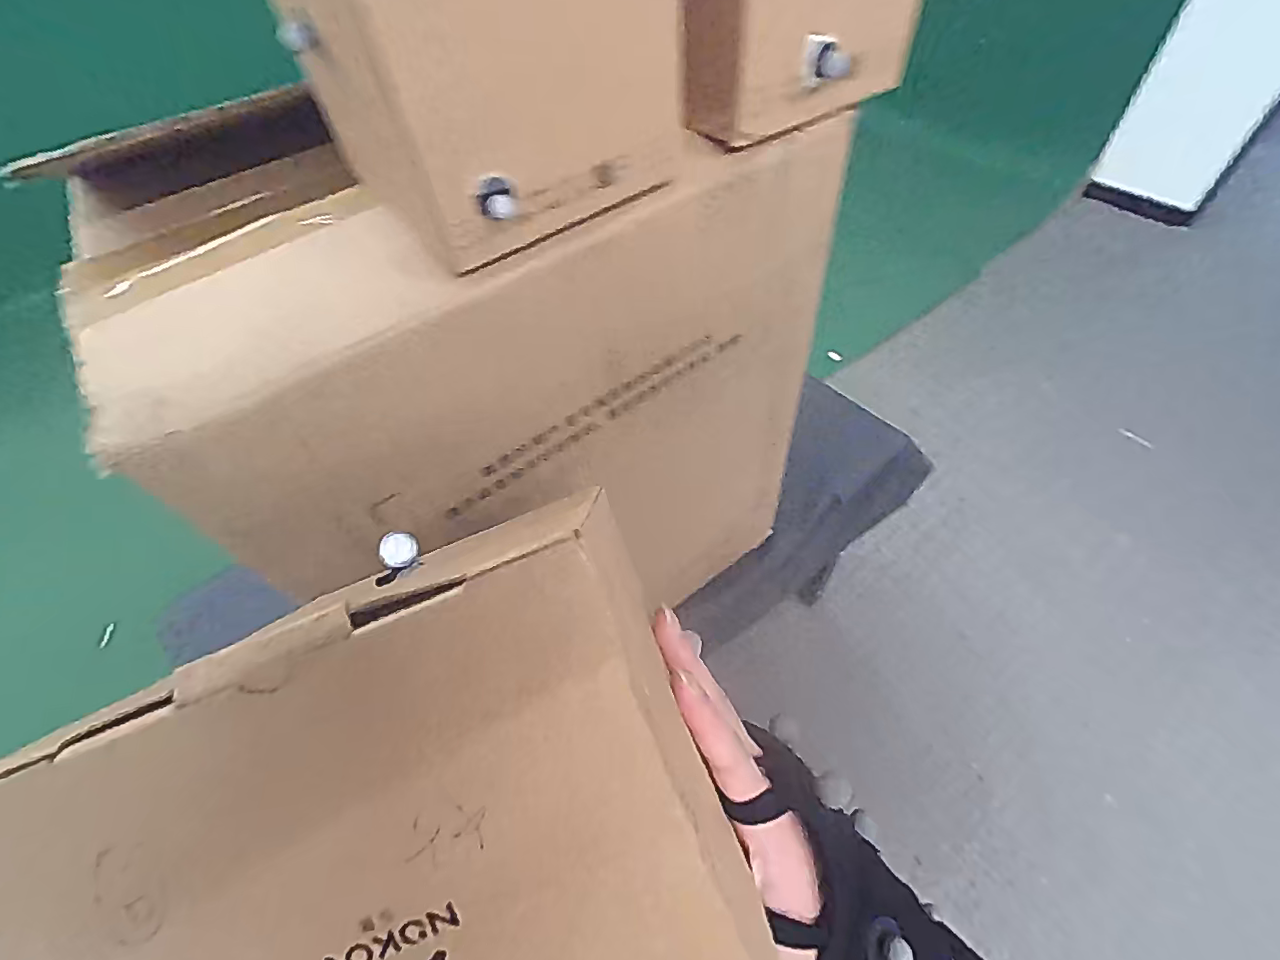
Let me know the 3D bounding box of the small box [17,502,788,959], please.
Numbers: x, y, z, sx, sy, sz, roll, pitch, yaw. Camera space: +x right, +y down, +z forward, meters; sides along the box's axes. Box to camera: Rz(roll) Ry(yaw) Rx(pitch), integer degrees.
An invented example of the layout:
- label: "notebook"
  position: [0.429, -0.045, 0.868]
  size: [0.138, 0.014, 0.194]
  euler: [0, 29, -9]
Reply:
- label: "small box"
  position: [-0.057, 0.114, 0.224]
  size: [0.168, 0.176, 0.179]
  euler: [-21, 93, 0]
